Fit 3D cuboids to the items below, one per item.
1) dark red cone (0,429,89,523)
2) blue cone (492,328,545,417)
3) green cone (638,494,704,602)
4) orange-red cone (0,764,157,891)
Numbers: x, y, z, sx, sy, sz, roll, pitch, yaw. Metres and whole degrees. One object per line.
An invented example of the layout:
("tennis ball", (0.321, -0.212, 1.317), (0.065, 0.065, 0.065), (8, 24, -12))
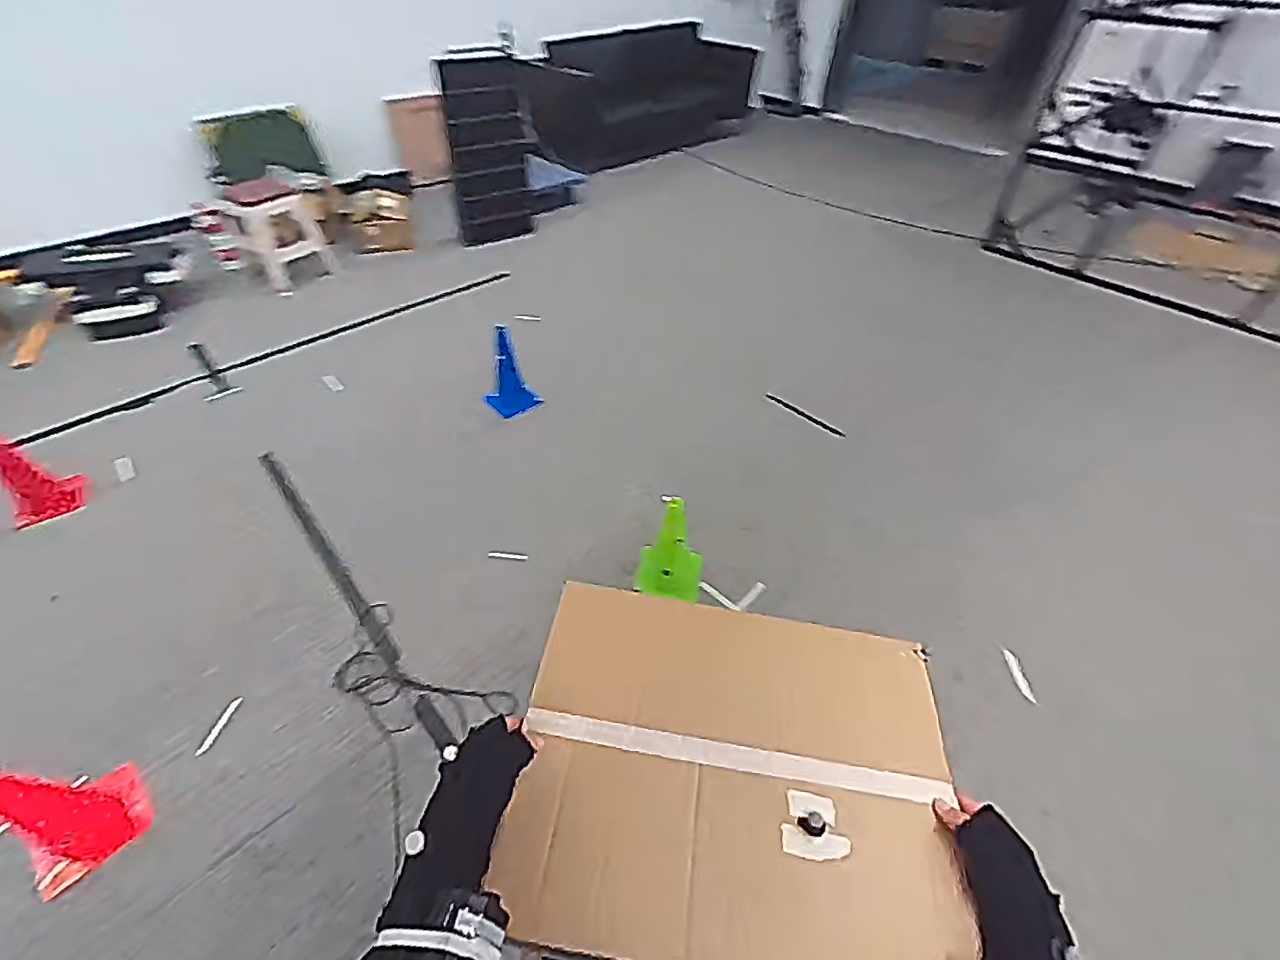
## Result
("dark red cone", (-2.081, -0.056, 1.806), (0.201, 0.394, 0.202), (-27, 52, -27))
("blue cone", (-0.542, -0.470, 2.305), (0.192, 0.380, 0.193), (-29, 53, -28))
("green cone", (0.110, 0.184, 1.651), (0.200, 0.368, 0.202), (8, 44, 5))
("orange-red cone", (-1.249, 0.682, 1.132), (0.199, 0.360, 0.198), (36, 56, 28))
